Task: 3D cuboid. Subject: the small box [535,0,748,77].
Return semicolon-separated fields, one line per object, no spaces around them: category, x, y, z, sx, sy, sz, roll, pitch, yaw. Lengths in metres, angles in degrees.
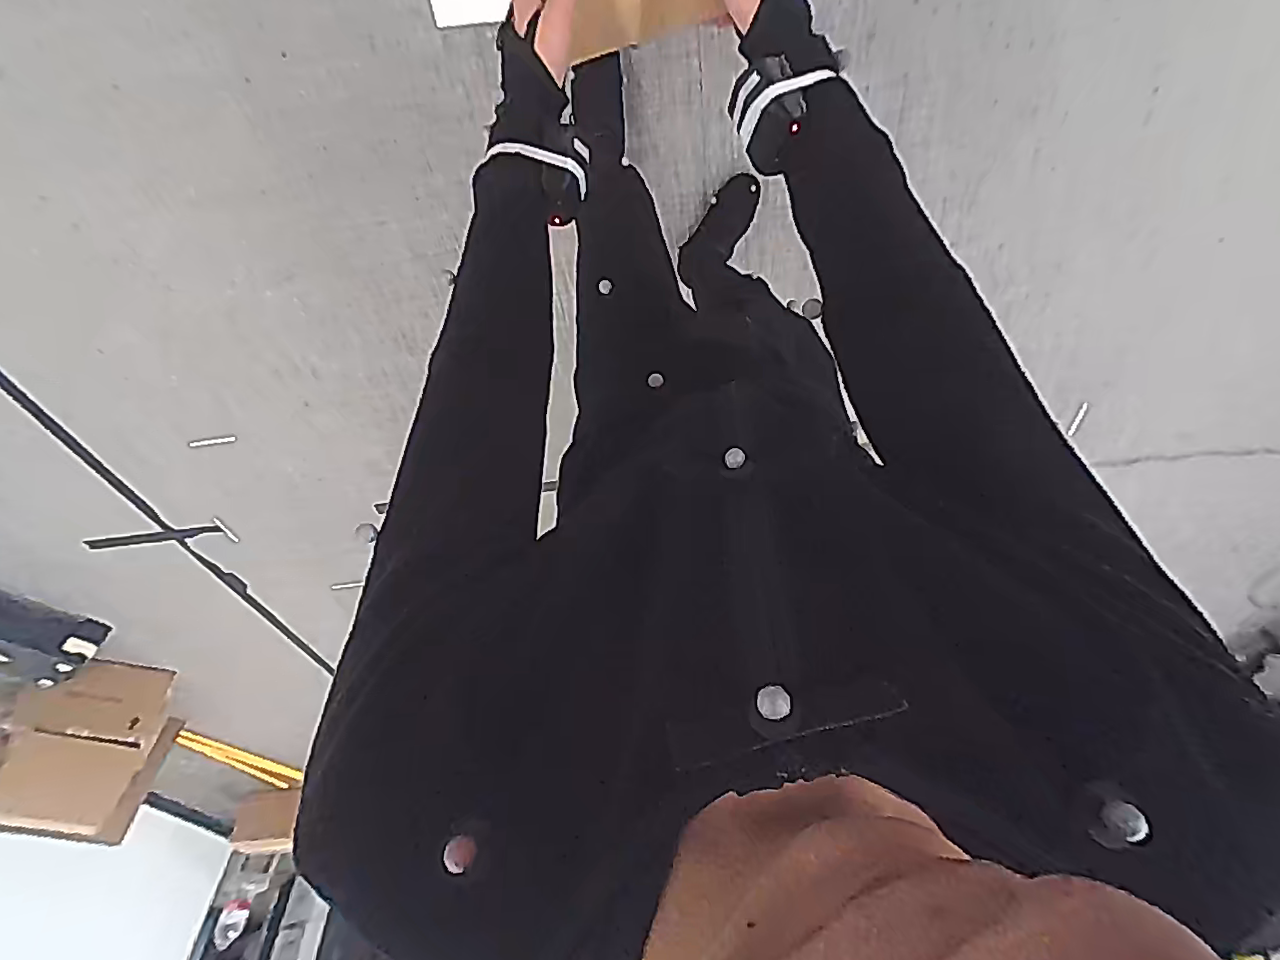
small box;-0.020;-0.486;0.462;0.179;0.176;0.168;-17;142;3
